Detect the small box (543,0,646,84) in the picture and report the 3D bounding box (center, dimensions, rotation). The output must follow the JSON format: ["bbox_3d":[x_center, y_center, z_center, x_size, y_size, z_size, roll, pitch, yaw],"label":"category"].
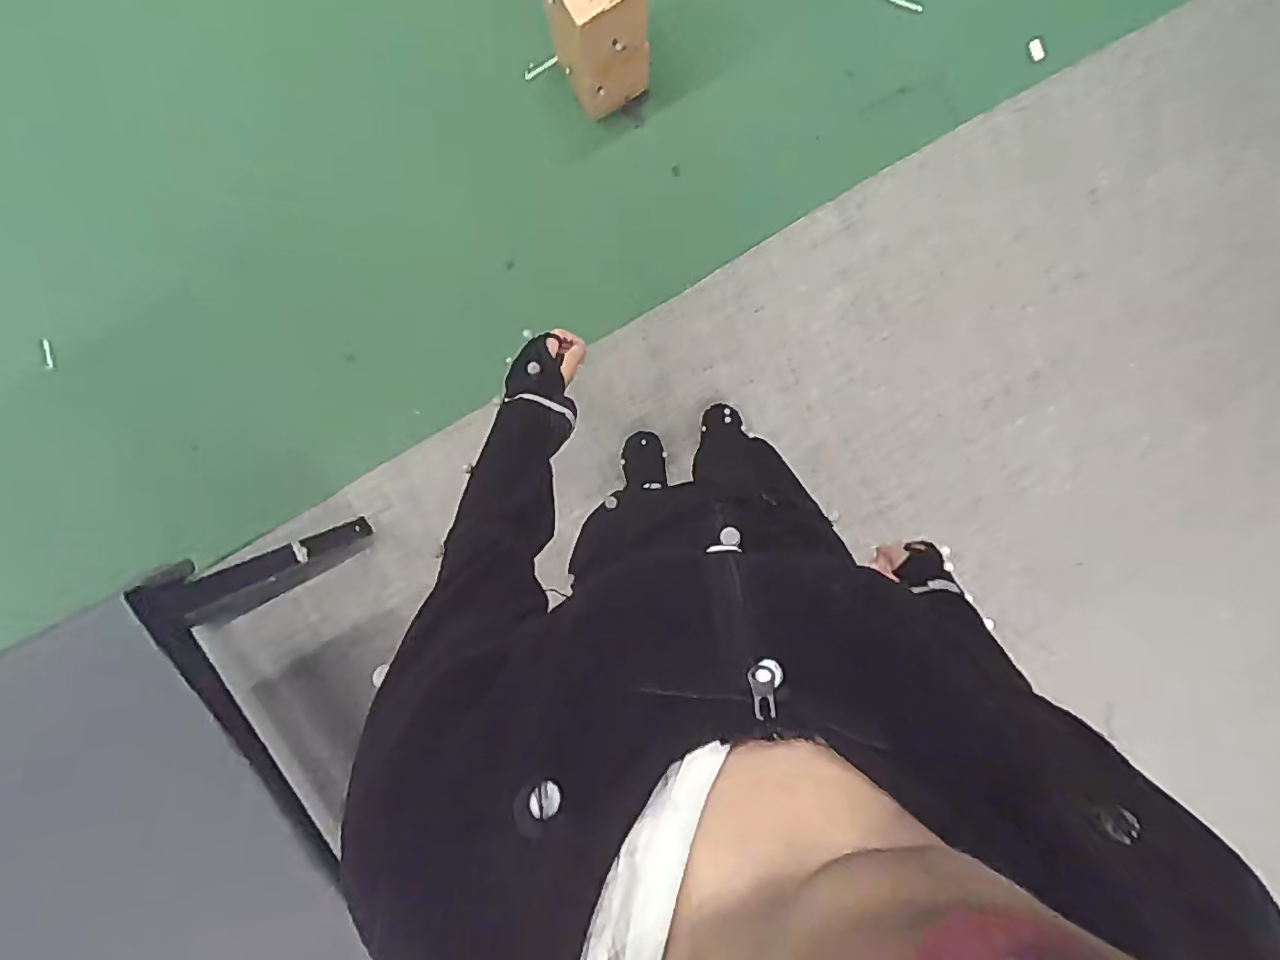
[{"bbox_3d":[-0.101,-1.001,1.140,0.168,0.176,0.179,-32,95,3],"label":"small box"}]
